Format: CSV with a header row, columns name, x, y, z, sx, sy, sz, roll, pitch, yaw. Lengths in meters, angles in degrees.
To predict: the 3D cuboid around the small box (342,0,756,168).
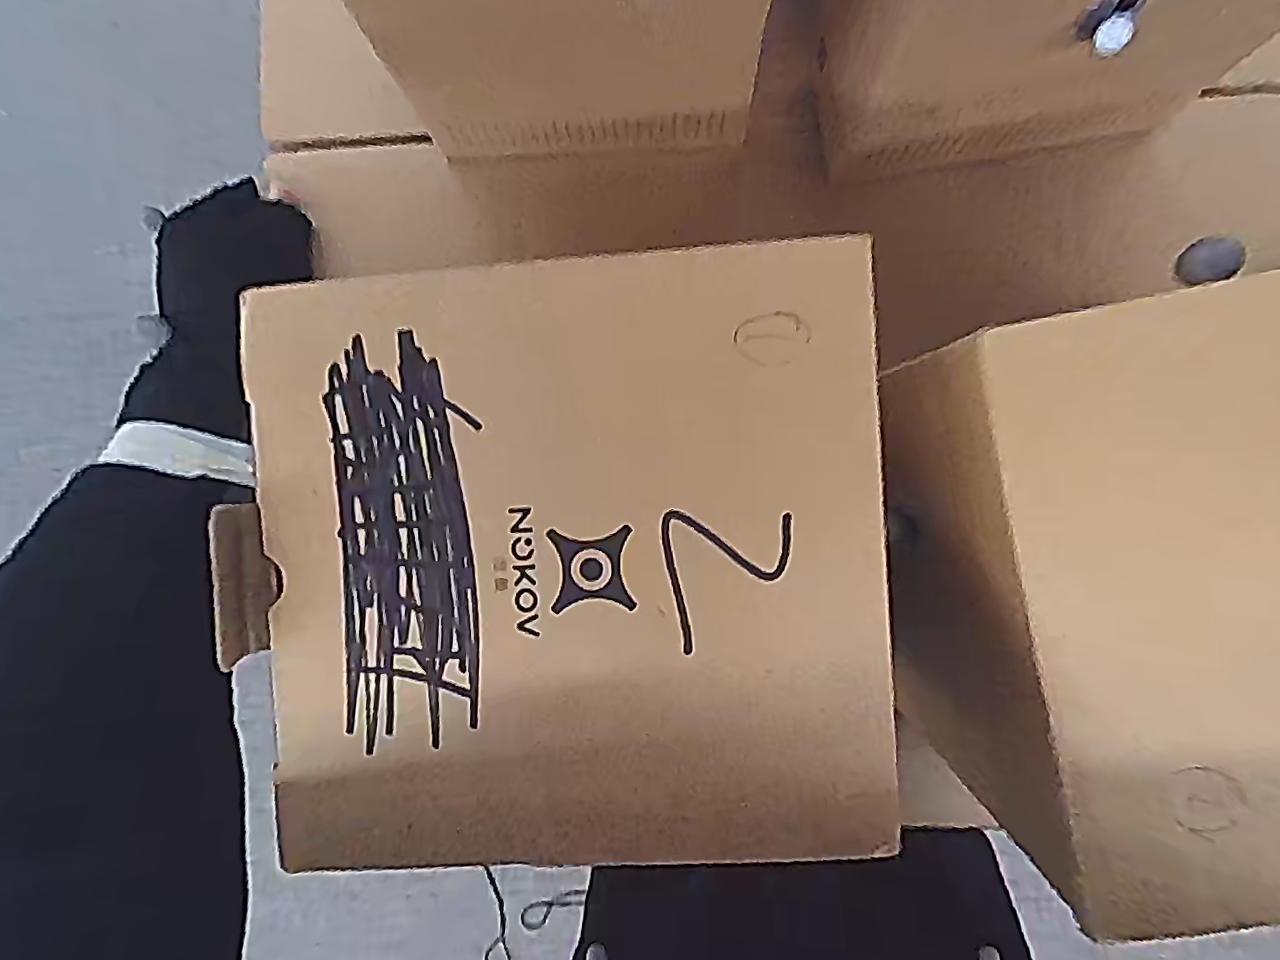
name,x,y,z,sx,sy,sz,roll,pitch,yaw
small box,-0.034,-0.273,0.251,0.179,0.176,0.168,0,87,4
